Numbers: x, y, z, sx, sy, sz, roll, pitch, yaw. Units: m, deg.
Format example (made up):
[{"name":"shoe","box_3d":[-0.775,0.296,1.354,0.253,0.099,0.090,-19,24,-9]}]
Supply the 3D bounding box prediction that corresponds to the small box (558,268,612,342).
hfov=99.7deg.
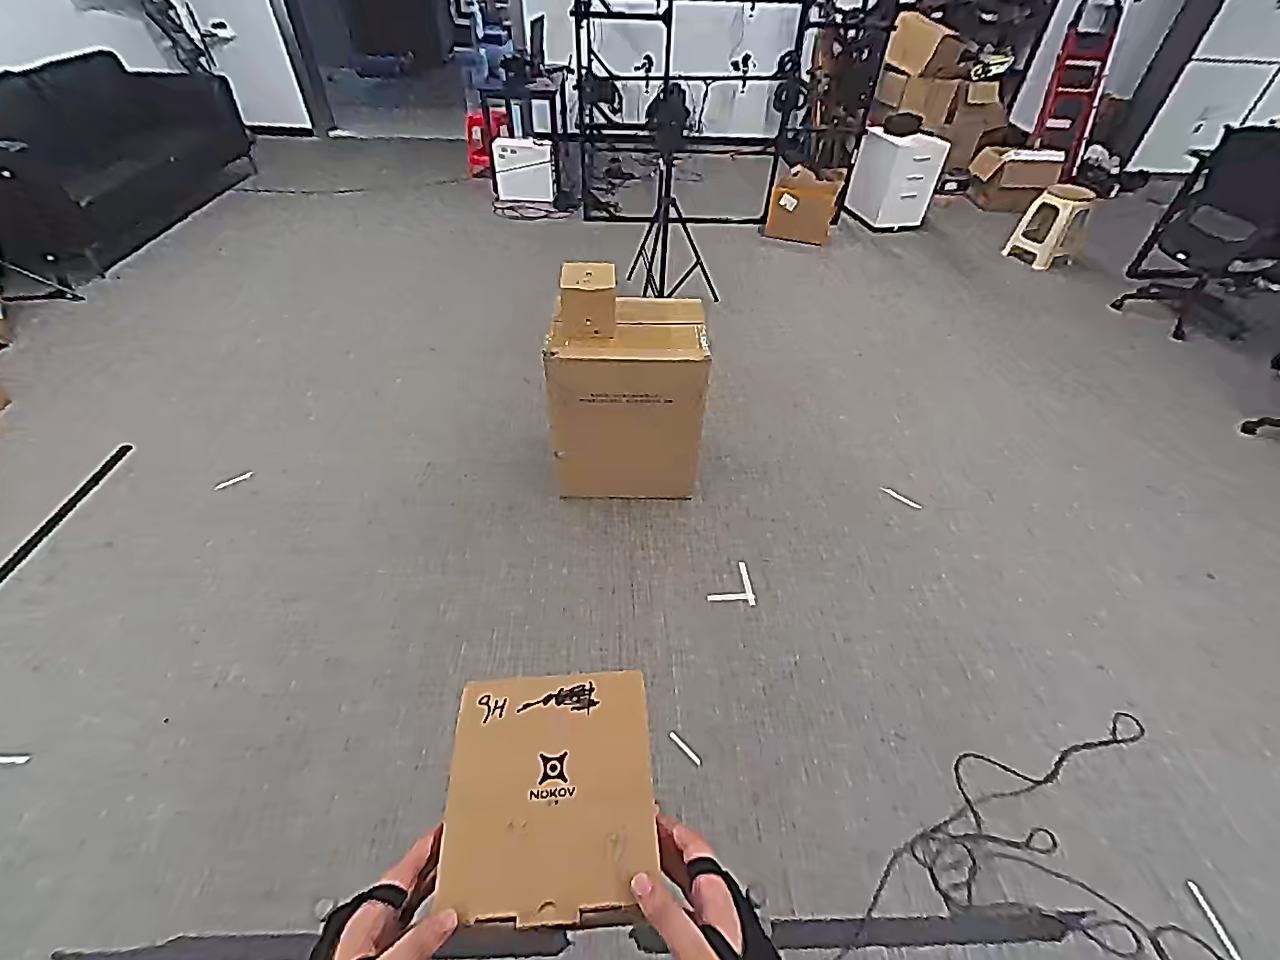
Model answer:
[{"name":"small box","box_3d":[-0.173,-0.562,1.734,0.168,0.176,0.179,-1,46,-4]}]
